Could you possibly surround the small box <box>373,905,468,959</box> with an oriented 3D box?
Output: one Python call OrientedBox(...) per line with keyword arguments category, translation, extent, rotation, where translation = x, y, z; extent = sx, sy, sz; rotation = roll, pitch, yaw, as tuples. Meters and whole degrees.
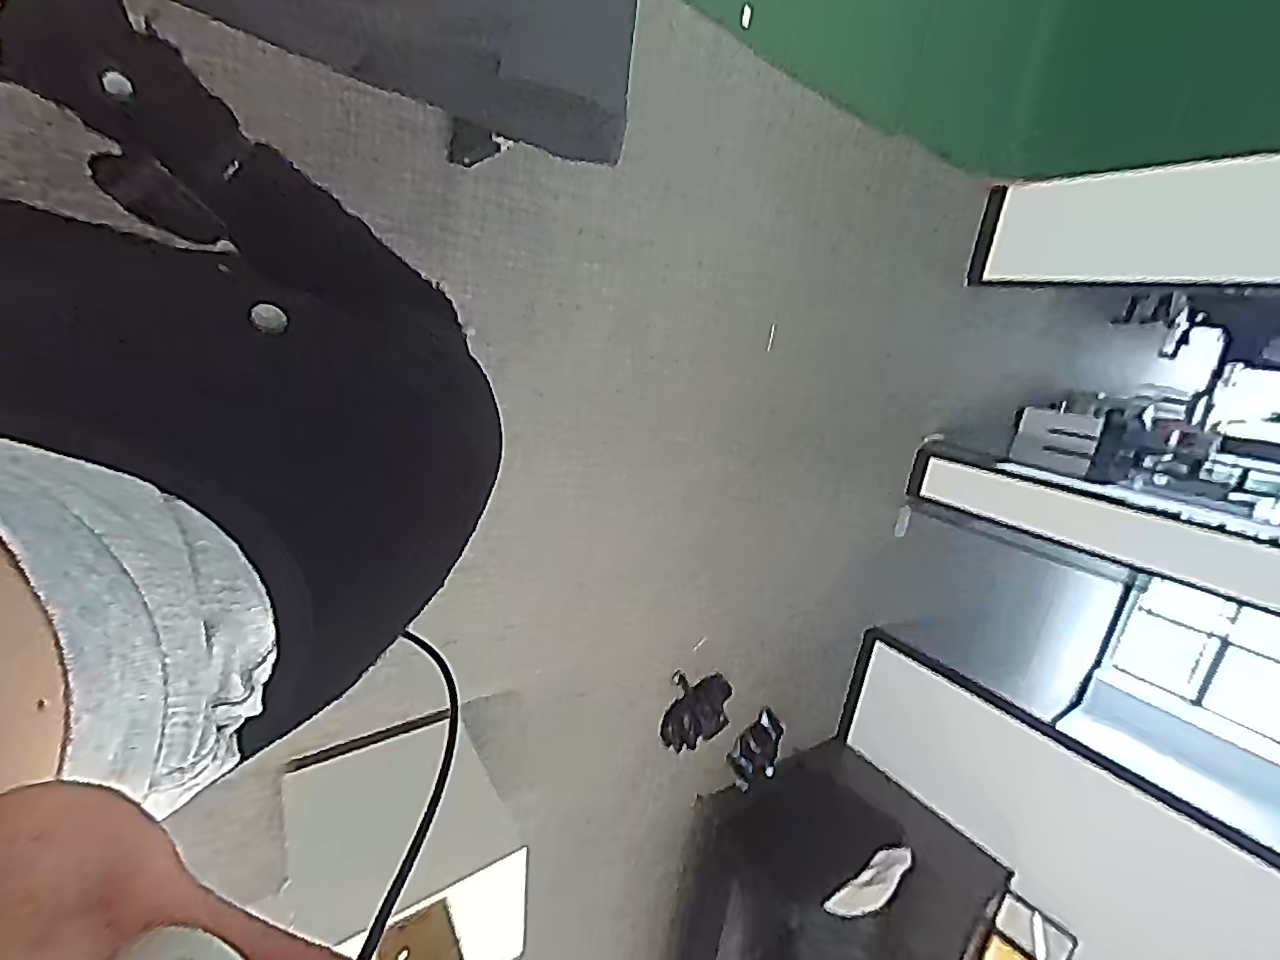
OrientedBox(category="small box", translation=(-0.493, 1.102, 1.206), extent=(0.168, 0.176, 0.179), rotation=(-5, 112, -35))
